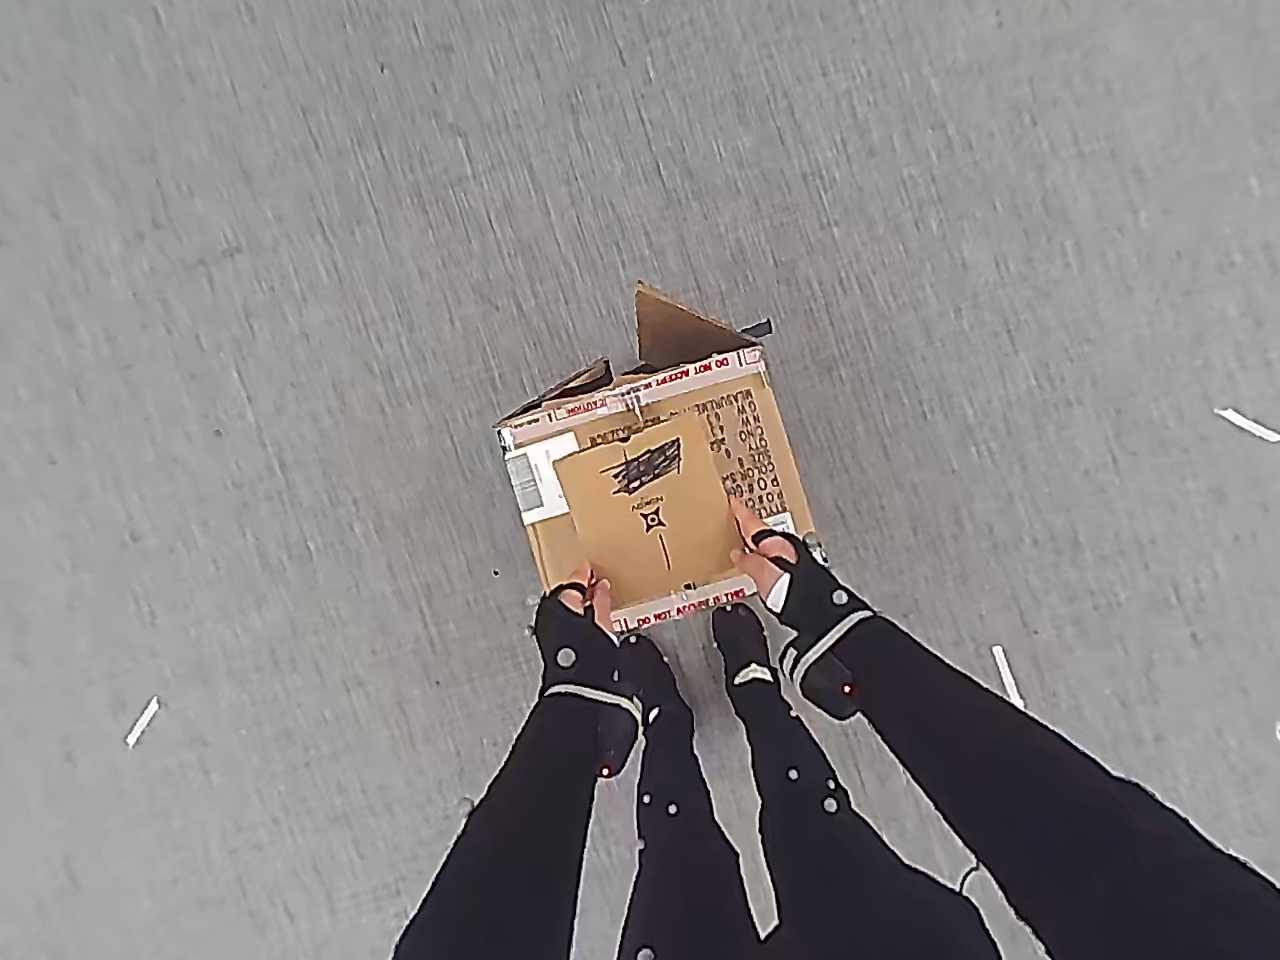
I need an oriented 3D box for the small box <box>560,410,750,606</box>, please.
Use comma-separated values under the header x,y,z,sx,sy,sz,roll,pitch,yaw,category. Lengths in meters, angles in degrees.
x,y,z,sx,sy,sz,roll,pitch,yaw,category
0.018,0.028,0.661,0.168,0.176,0.179,-20,93,4,small box
